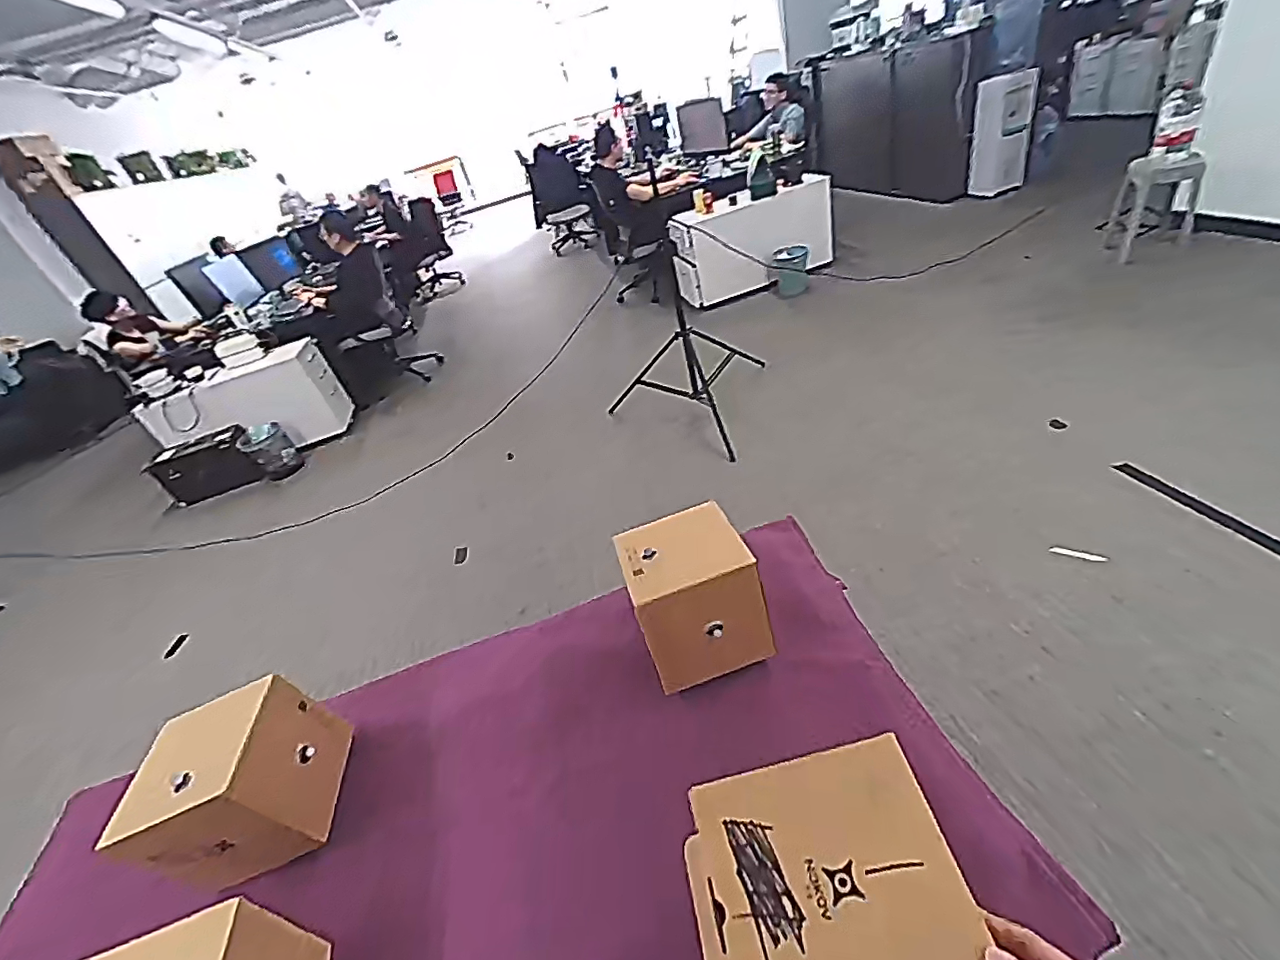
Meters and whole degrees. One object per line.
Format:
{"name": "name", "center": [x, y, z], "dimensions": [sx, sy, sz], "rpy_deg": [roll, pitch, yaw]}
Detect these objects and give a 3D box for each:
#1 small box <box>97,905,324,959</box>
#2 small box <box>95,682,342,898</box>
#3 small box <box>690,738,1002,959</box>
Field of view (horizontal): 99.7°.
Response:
{"name": "small box", "center": [-0.431, 0.547, 0.502], "dimensions": [0.179, 0.176, 0.168], "rpy_deg": [-21, 35, -5]}
{"name": "small box", "center": [-0.527, 0.402, 0.716], "dimensions": [0.179, 0.168, 0.176], "rpy_deg": [-24, 34, 3]}
{"name": "small box", "center": [0.157, 0.338, 0.437], "dimensions": [0.179, 0.176, 0.168], "rpy_deg": [-18, 47, 5]}
